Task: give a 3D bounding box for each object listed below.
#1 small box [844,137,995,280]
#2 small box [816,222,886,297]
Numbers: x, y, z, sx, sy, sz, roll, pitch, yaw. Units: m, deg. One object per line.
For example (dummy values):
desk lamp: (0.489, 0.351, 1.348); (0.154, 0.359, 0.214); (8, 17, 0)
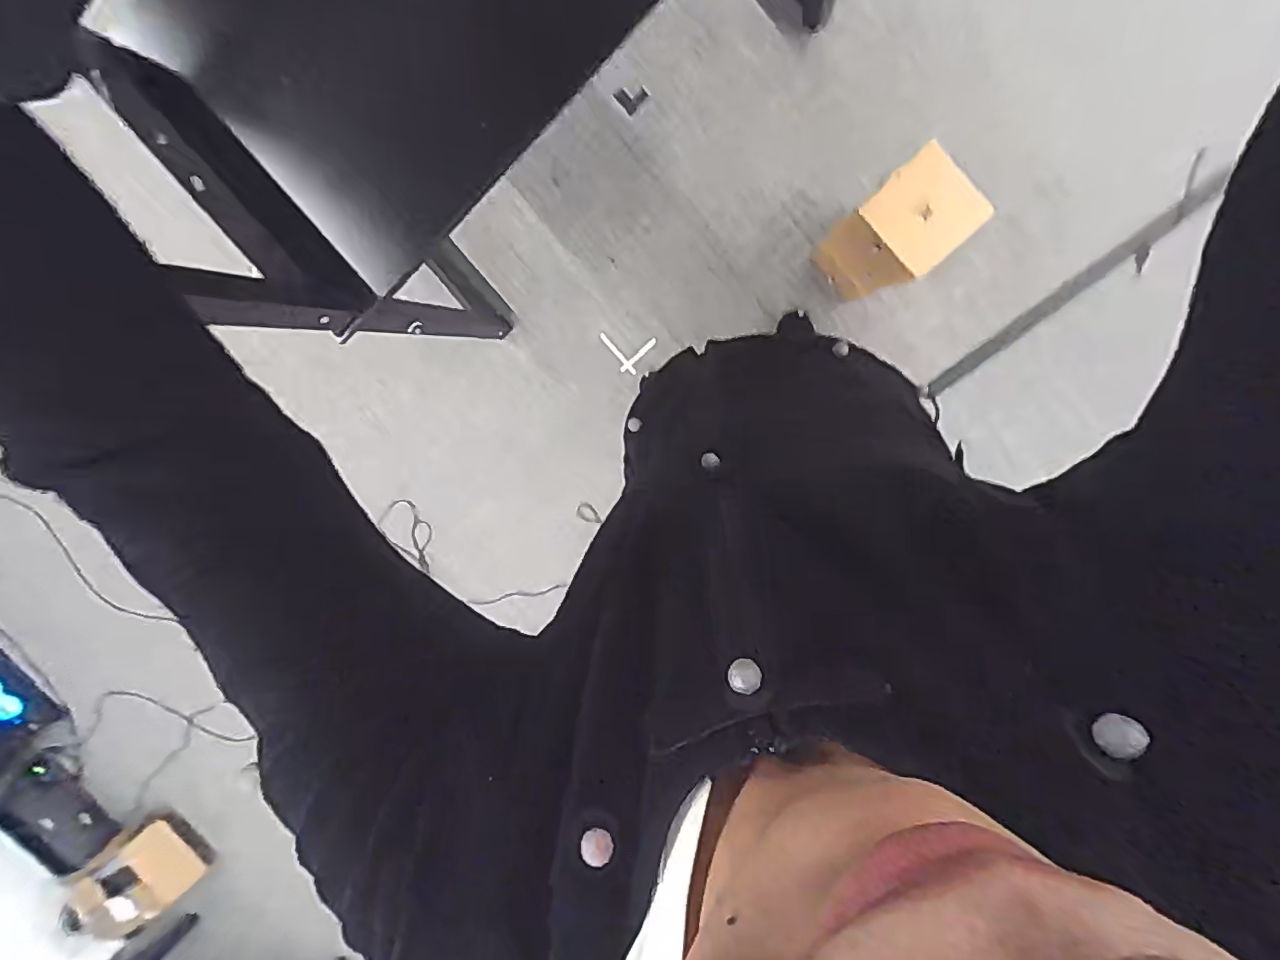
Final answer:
small box: (0.528, -0.509, 1.048); (0.168, 0.176, 0.179); (-43, 94, 16)
small box: (0.570, -0.587, 1.363); (0.179, 0.176, 0.168); (-42, 94, 16)
